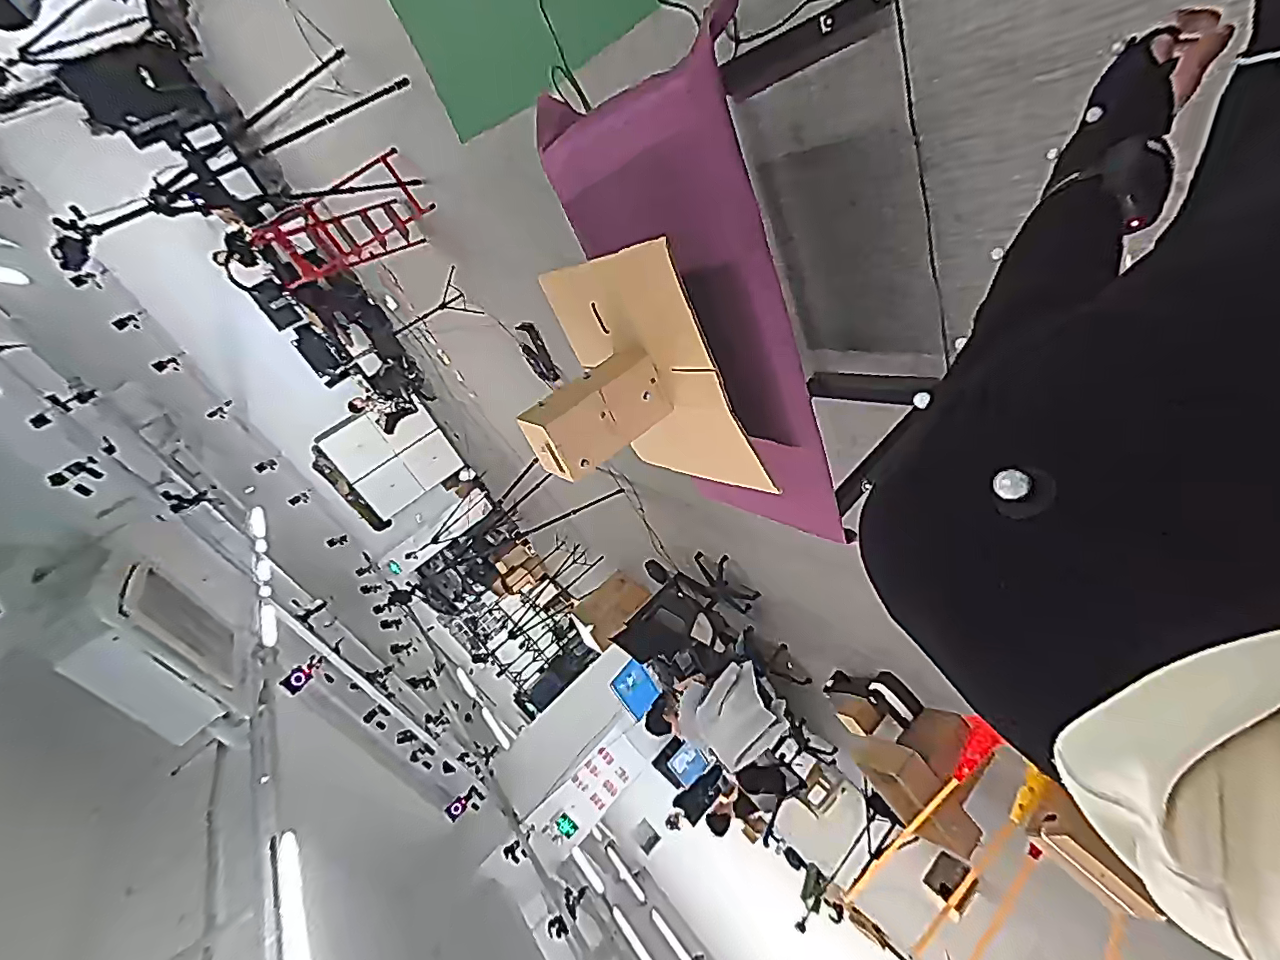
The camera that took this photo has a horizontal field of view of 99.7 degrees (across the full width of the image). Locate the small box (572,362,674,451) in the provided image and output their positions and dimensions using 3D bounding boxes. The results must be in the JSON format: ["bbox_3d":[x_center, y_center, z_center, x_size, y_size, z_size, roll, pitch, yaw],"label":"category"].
[{"bbox_3d":[-0.043,-0.199,1.420,0.179,0.176,0.168,18,140,53],"label":"small box"}]
